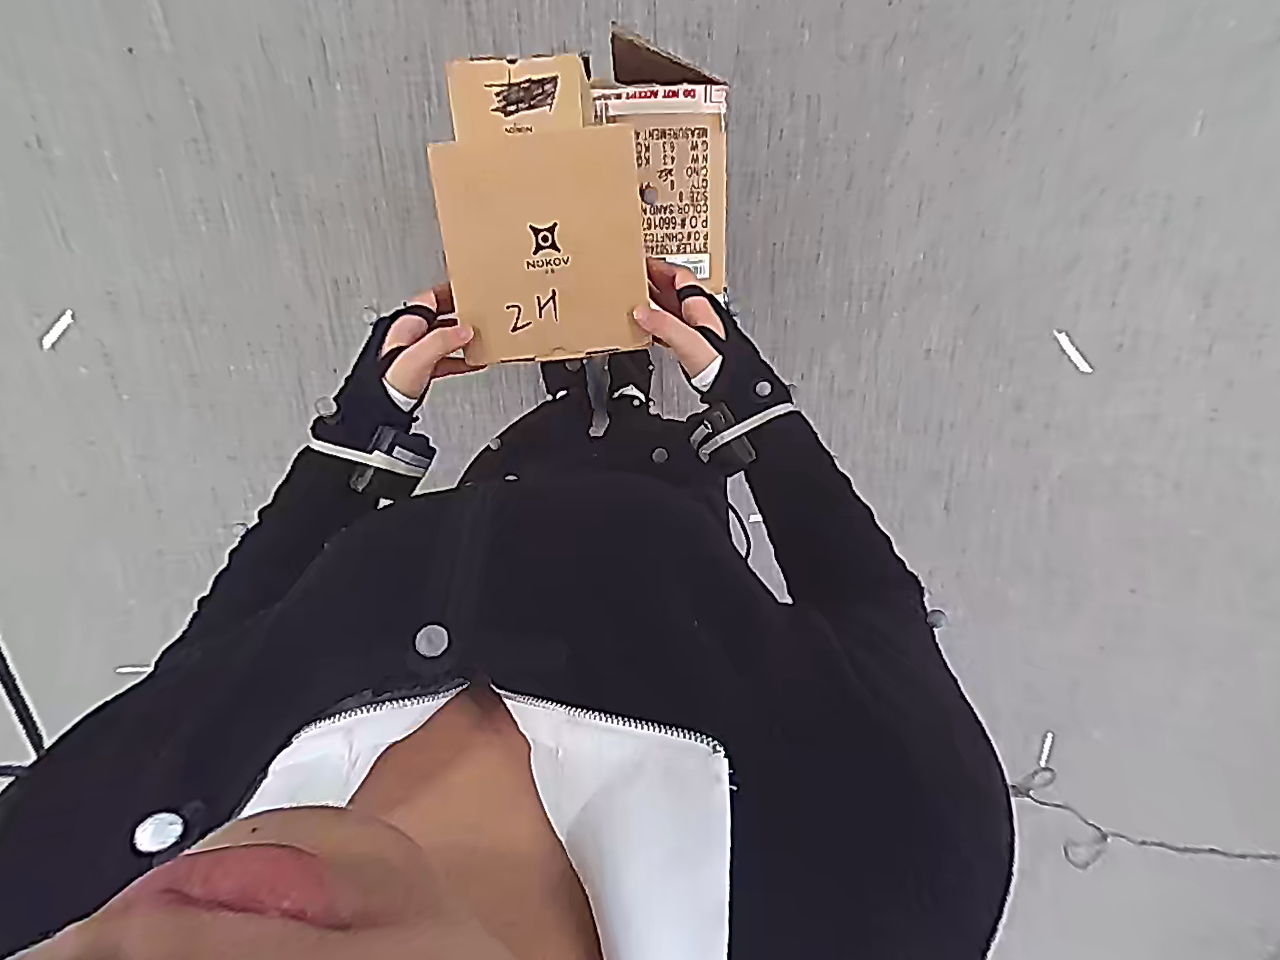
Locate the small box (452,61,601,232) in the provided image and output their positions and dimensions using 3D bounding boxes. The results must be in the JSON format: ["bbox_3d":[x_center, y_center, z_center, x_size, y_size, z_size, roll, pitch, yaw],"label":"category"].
[{"bbox_3d":[-0.146,-0.453,0.761,0.168,0.176,0.179,-1,111,2],"label":"small box"}]
